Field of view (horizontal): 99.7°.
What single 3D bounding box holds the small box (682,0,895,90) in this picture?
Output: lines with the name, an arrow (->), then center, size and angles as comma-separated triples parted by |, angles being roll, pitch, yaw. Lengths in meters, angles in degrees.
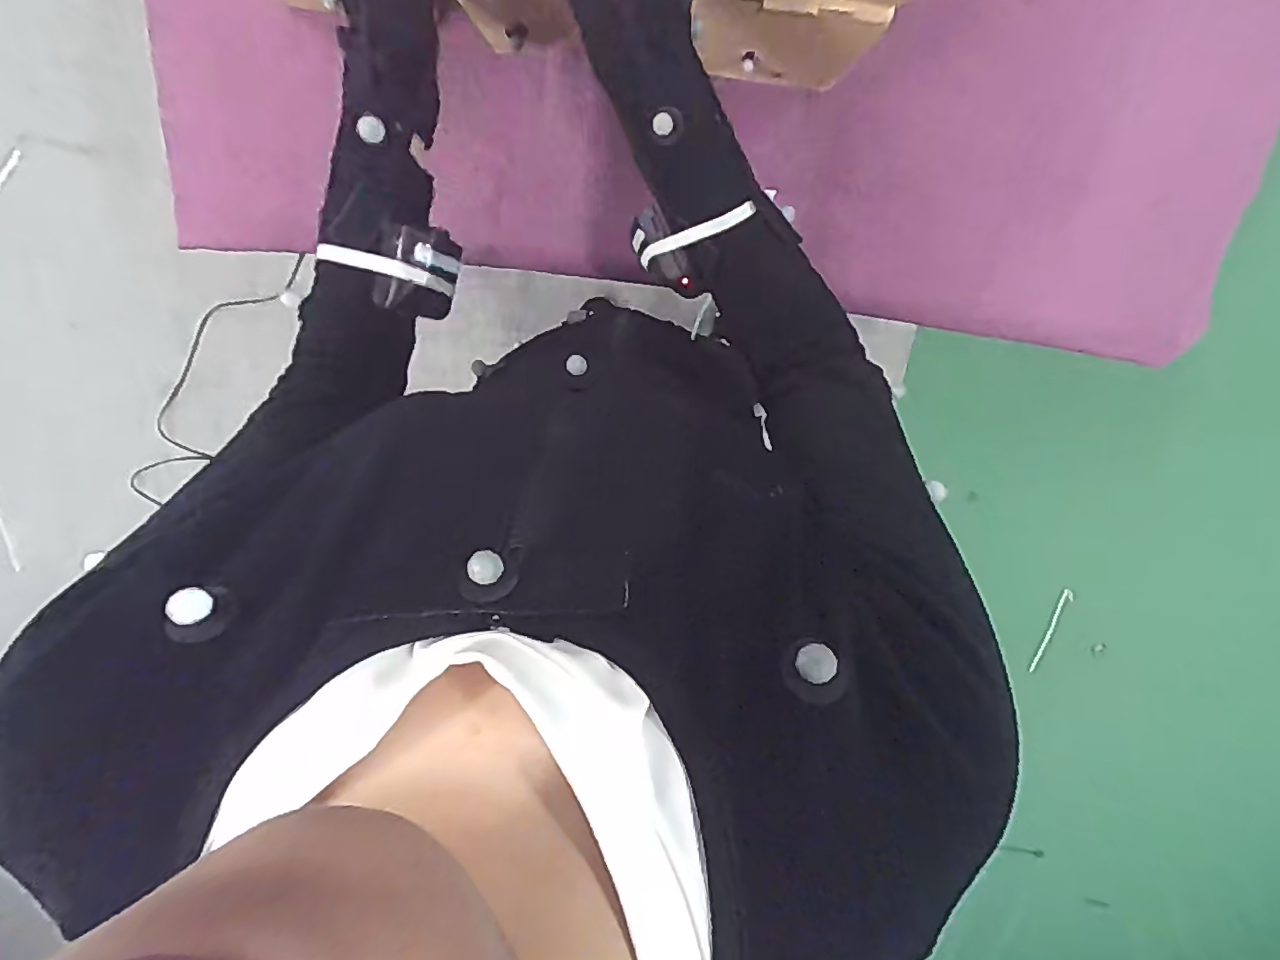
small box -> 0.132, -0.484, 0.478 | 0.168, 0.176, 0.179 | 7, 111, -2

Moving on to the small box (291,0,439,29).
small box -> -0.280, -0.536, 0.460 | 0.168, 0.176, 0.179 | 7, 111, -2
